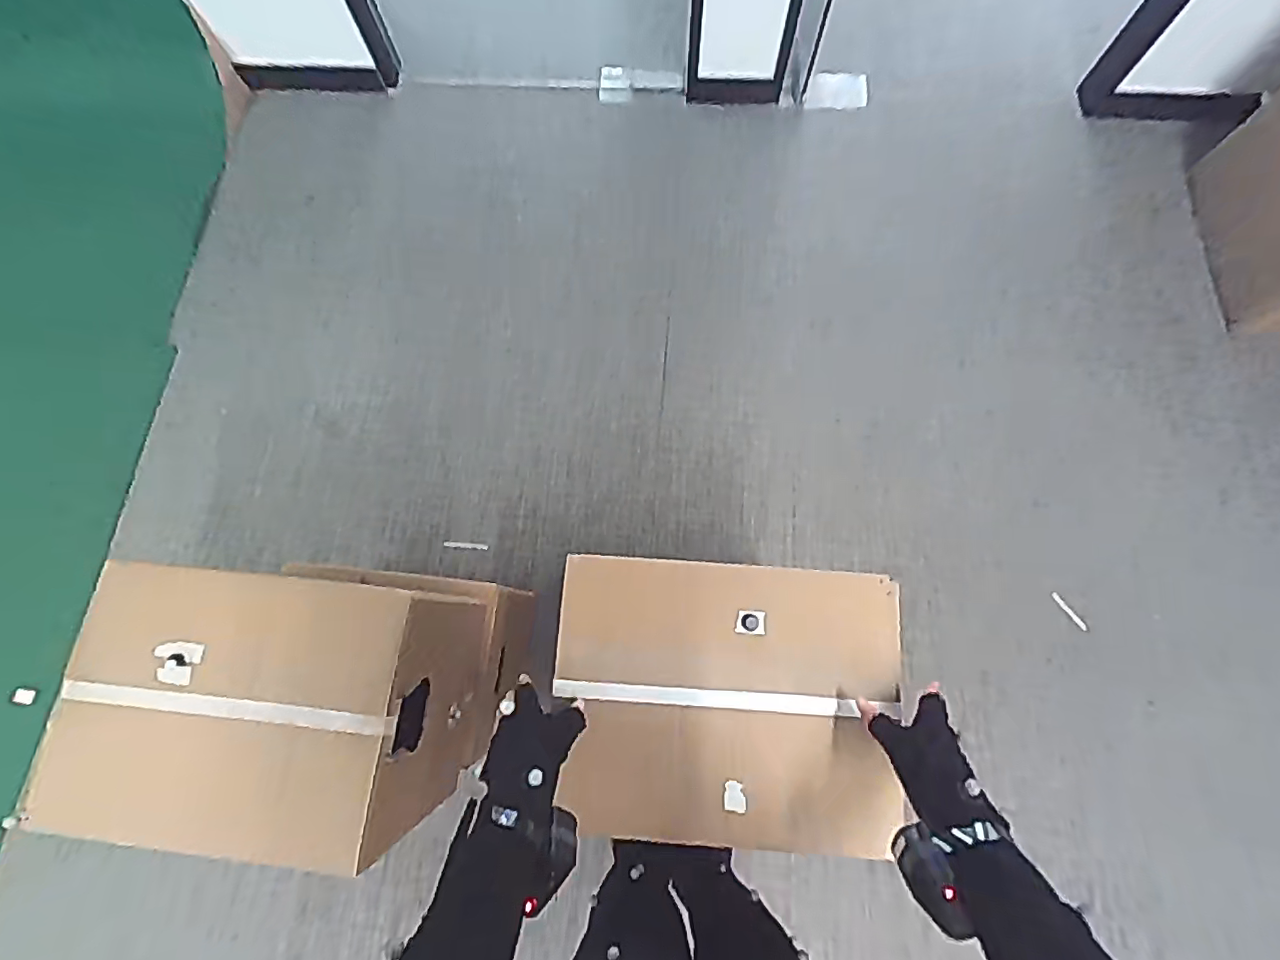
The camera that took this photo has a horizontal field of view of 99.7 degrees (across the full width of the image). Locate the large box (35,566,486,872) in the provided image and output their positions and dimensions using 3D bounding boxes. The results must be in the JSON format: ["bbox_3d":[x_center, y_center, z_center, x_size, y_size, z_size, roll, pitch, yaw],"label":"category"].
[{"bbox_3d":[-0.484,0.307,0.791,0.408,0.320,0.320,5,76,4],"label":"large box"}]
